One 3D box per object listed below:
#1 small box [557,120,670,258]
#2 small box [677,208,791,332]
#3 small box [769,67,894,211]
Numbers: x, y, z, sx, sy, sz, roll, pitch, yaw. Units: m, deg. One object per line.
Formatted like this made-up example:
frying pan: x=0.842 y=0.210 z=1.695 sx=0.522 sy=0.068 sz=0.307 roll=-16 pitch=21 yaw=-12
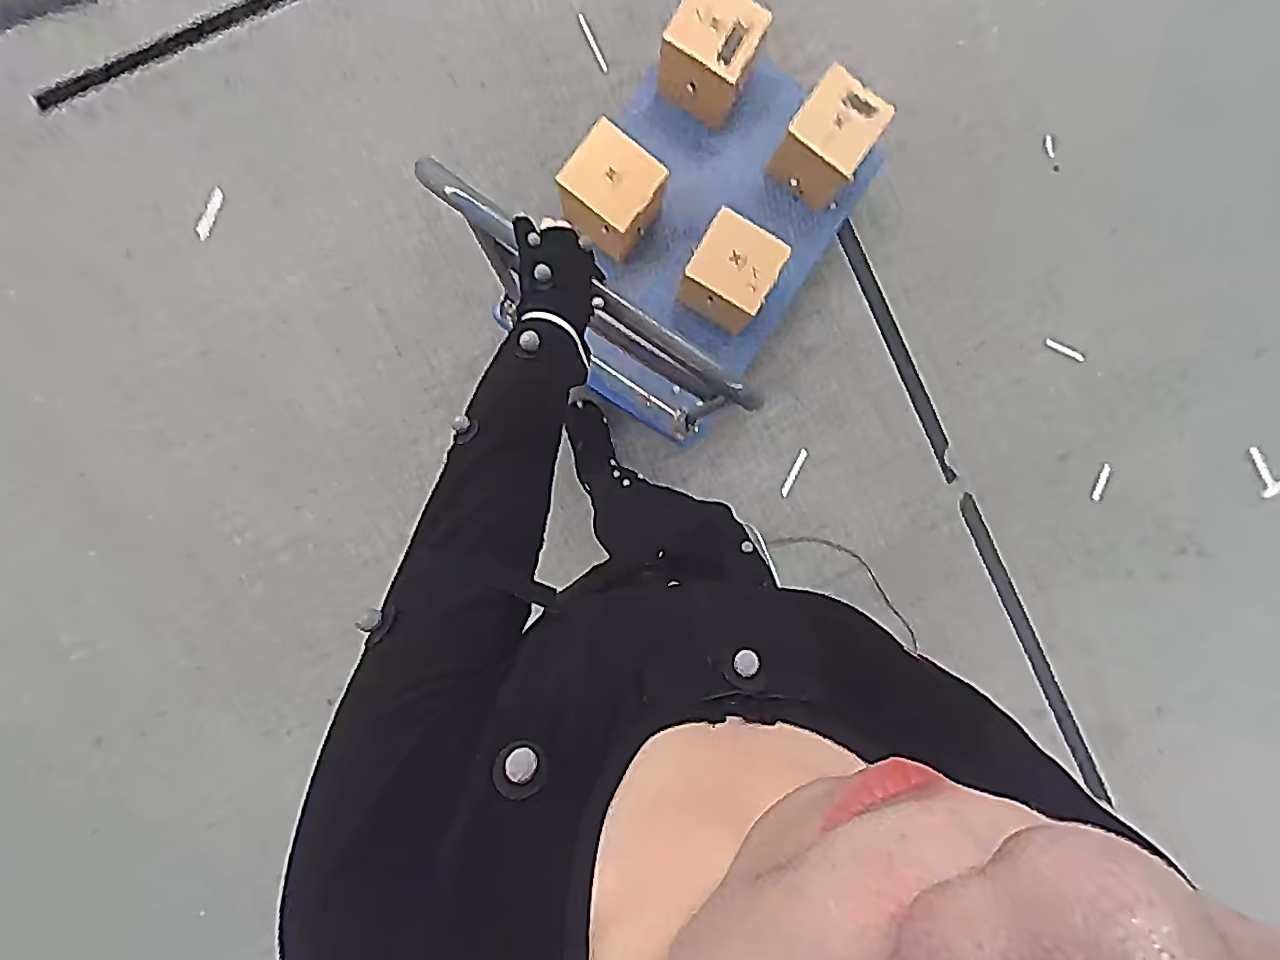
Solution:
small box: x=-0.061 y=-0.622 z=1.185 sx=0.179 sy=0.176 sz=0.168 roll=37 pitch=89 yaw=-6
small box: x=0.198 y=-0.455 z=1.206 sx=0.179 sy=0.176 sz=0.168 roll=31 pitch=90 yaw=-4
small box: x=0.416 y=-0.751 z=1.211 sx=0.168 sy=0.176 sz=0.179 roll=36 pitch=90 yaw=-4
